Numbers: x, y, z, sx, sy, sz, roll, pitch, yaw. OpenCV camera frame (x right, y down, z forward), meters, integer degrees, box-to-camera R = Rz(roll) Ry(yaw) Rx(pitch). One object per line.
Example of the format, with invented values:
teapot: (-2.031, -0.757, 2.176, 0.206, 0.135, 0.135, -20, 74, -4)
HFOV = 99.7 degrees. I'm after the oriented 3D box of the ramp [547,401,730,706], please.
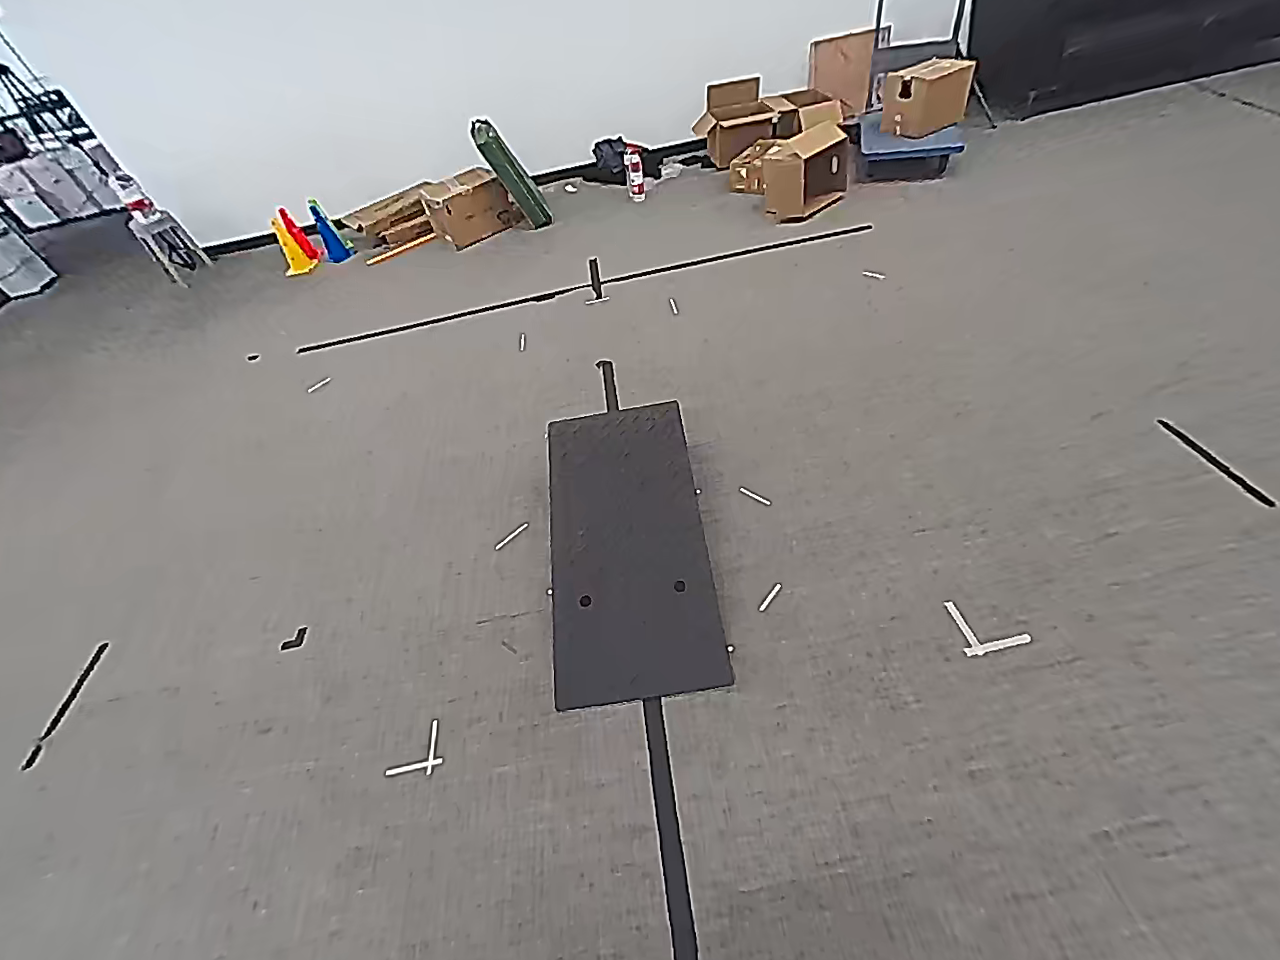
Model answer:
ramp: (-0.047, 0.164, 1.728, 0.509, 0.206, 0.991, -10, 47, 1)
